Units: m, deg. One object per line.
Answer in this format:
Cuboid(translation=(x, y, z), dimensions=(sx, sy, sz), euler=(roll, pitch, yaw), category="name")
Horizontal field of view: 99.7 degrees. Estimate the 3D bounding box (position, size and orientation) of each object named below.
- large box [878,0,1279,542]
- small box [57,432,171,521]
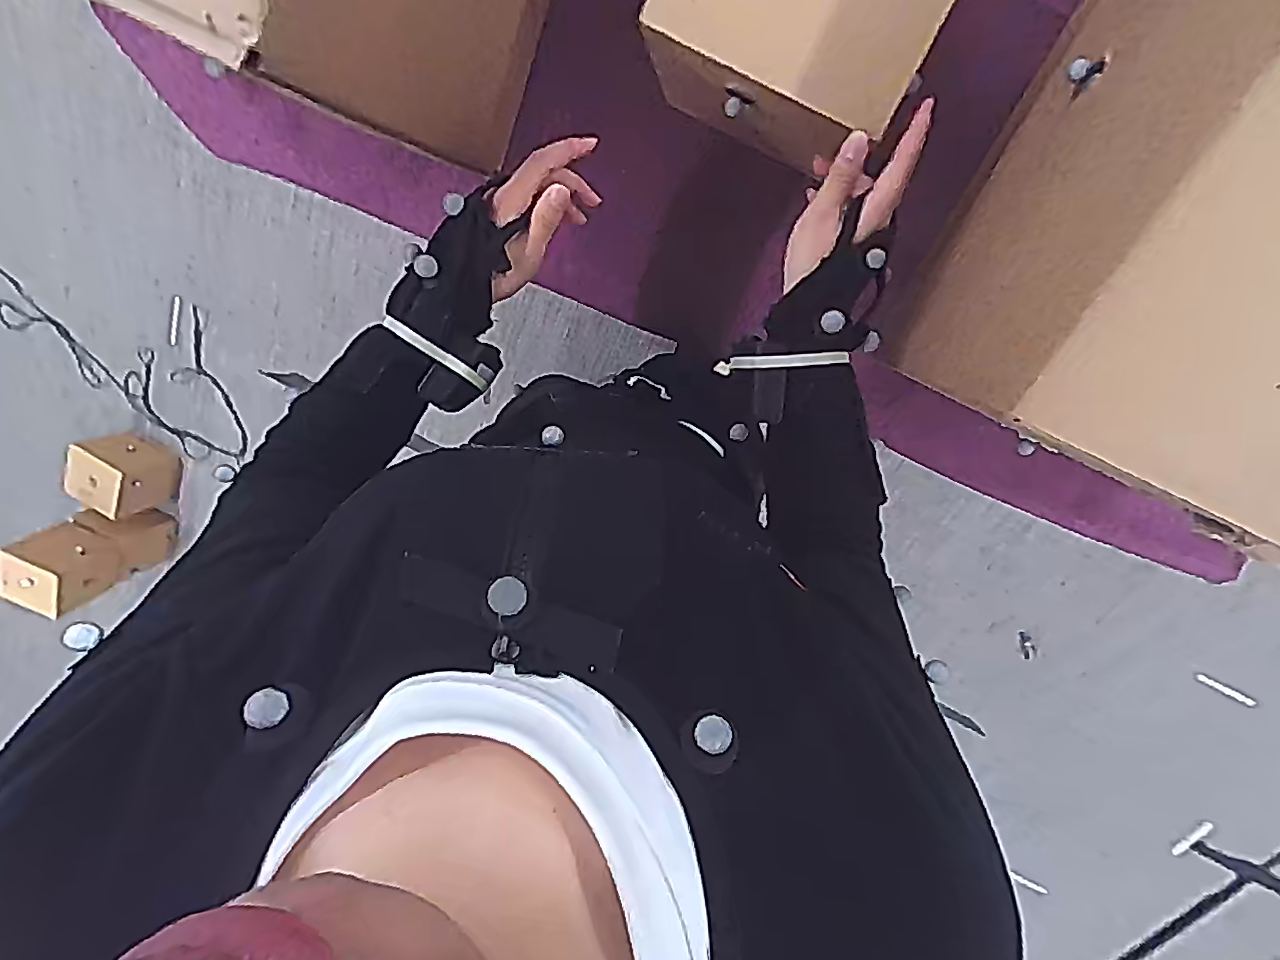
Cuboid(translation=(0.415, -0.182, 0.322), dimensions=(0.320, 0.320, 0.408), euler=(26, 110, 0), category="large box")
Cuboid(translation=(-1.519, -0.018, 1.570), dimensions=(0.168, 0.176, 0.179), euler=(32, 112, -1), category="small box")
